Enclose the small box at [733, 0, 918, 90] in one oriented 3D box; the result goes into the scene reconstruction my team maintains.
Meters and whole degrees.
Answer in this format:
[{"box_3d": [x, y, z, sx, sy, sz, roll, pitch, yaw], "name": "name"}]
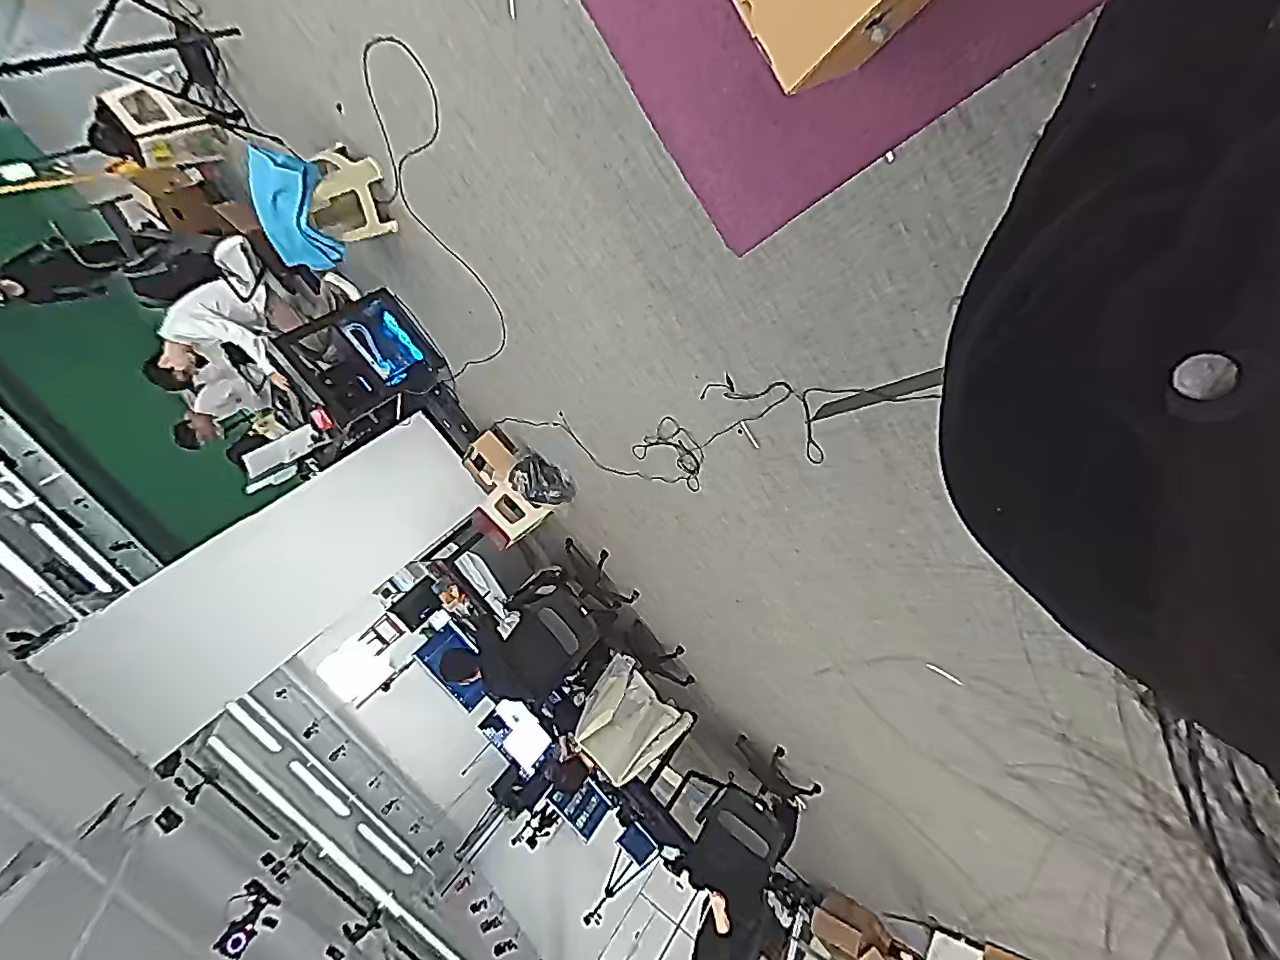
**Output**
[{"box_3d": [0.190, -0.506, 0.483, 0.168, 0.176, 0.179, 54, 148, -12], "name": "small box"}]
